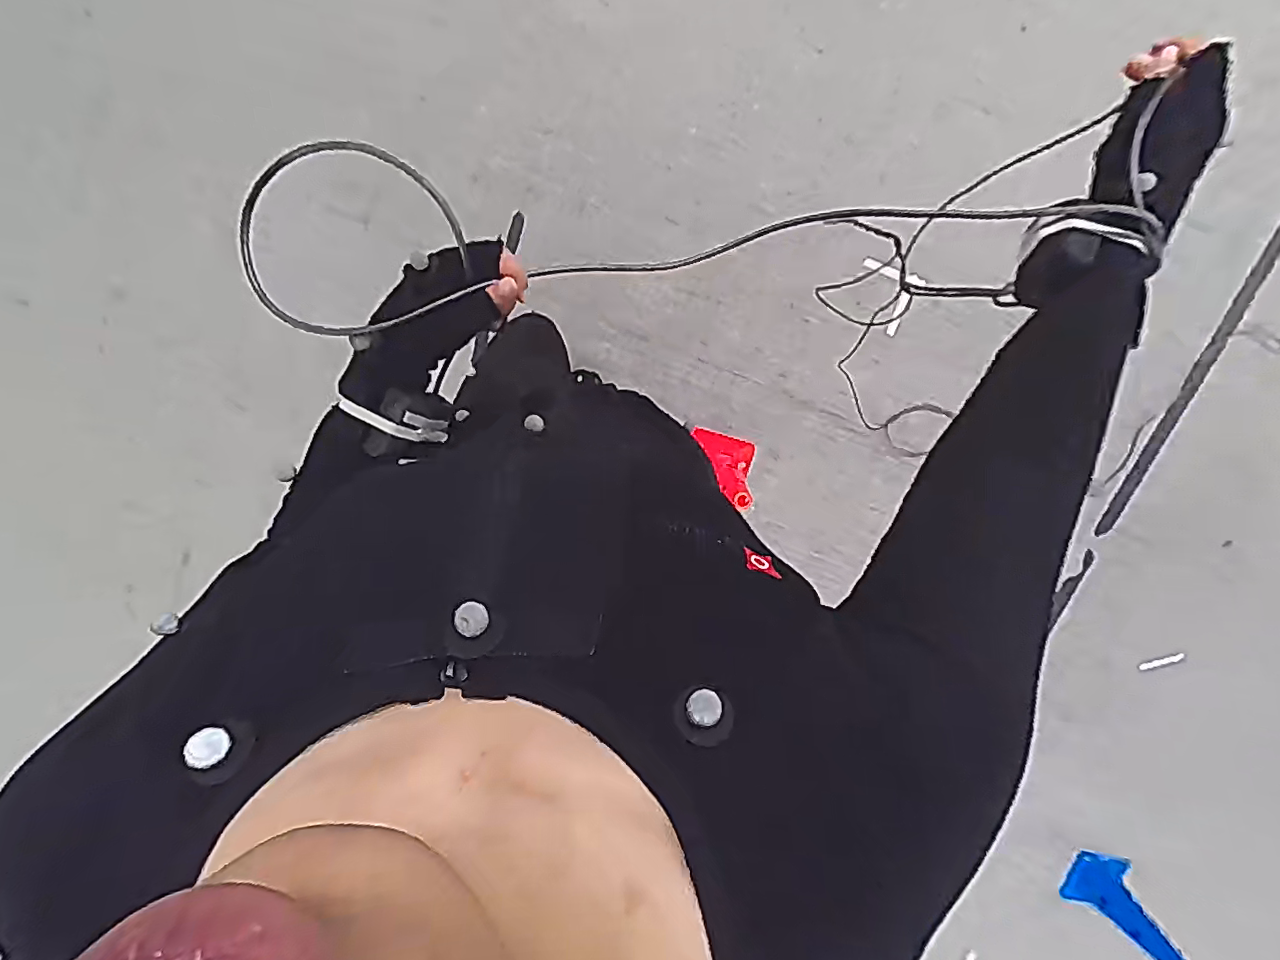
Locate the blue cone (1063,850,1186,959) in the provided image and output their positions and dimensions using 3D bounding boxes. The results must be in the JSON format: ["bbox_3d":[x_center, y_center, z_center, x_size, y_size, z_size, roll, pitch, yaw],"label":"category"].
[{"bbox_3d":[1.552,1.378,1.666,0.192,0.380,0.193,16,101,-6],"label":"blue cone"}]

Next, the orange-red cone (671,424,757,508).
[{"bbox_3d":[0.206,0.005,1.294,0.198,0.360,0.199,17,103,-6],"label":"orange-red cone"}]
